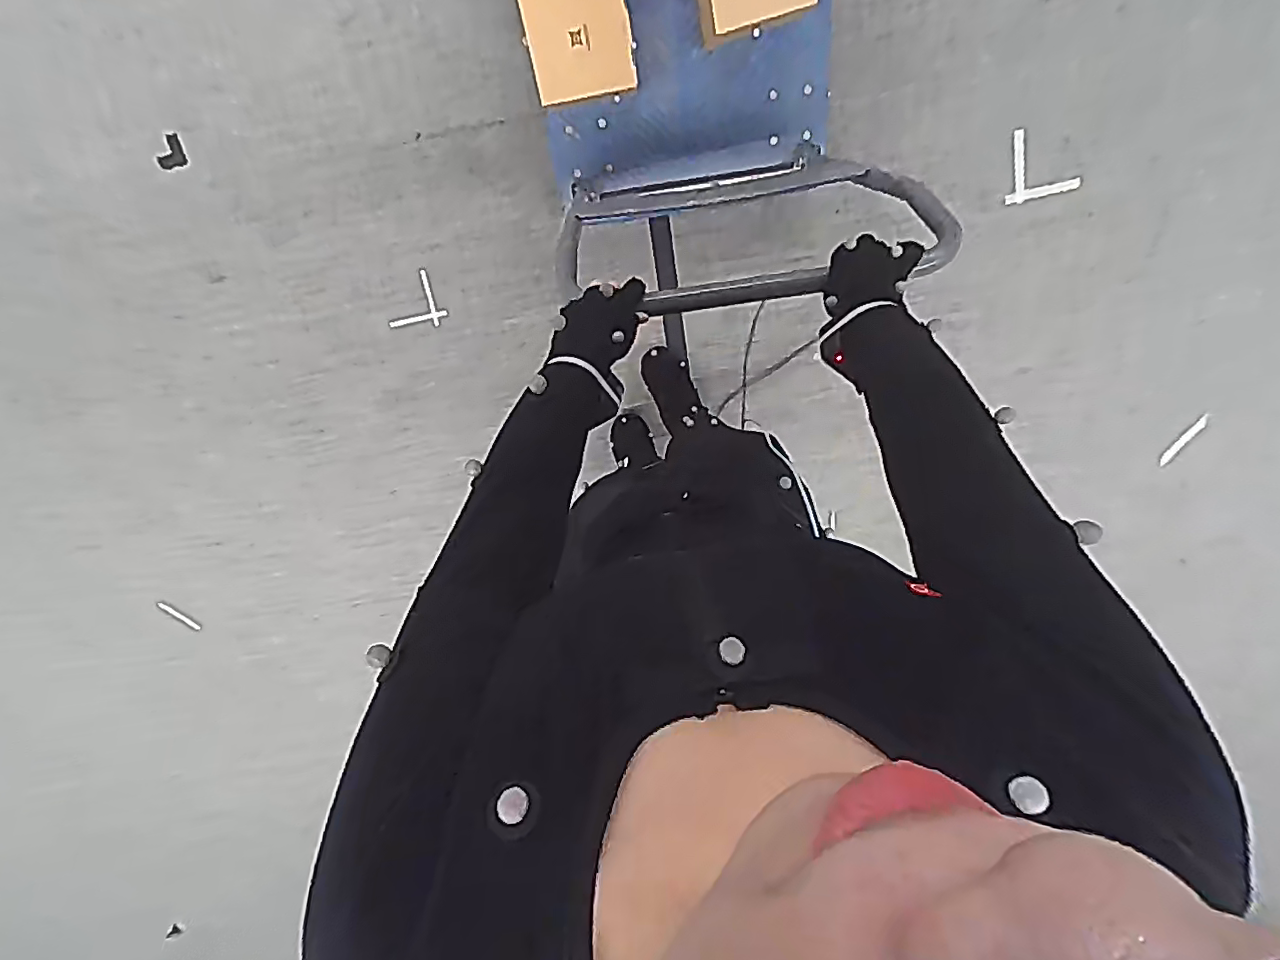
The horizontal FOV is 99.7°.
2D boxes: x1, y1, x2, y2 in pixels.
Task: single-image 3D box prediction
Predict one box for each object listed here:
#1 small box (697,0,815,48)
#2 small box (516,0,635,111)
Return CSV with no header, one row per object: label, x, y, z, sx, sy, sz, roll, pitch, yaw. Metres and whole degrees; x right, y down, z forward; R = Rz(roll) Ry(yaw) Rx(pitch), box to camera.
small box,0.187,-0.875,0.929,0.179,0.176,0.168,-12,122,6
small box,-0.108,-0.784,0.979,0.179,0.176,0.168,-11,122,3
